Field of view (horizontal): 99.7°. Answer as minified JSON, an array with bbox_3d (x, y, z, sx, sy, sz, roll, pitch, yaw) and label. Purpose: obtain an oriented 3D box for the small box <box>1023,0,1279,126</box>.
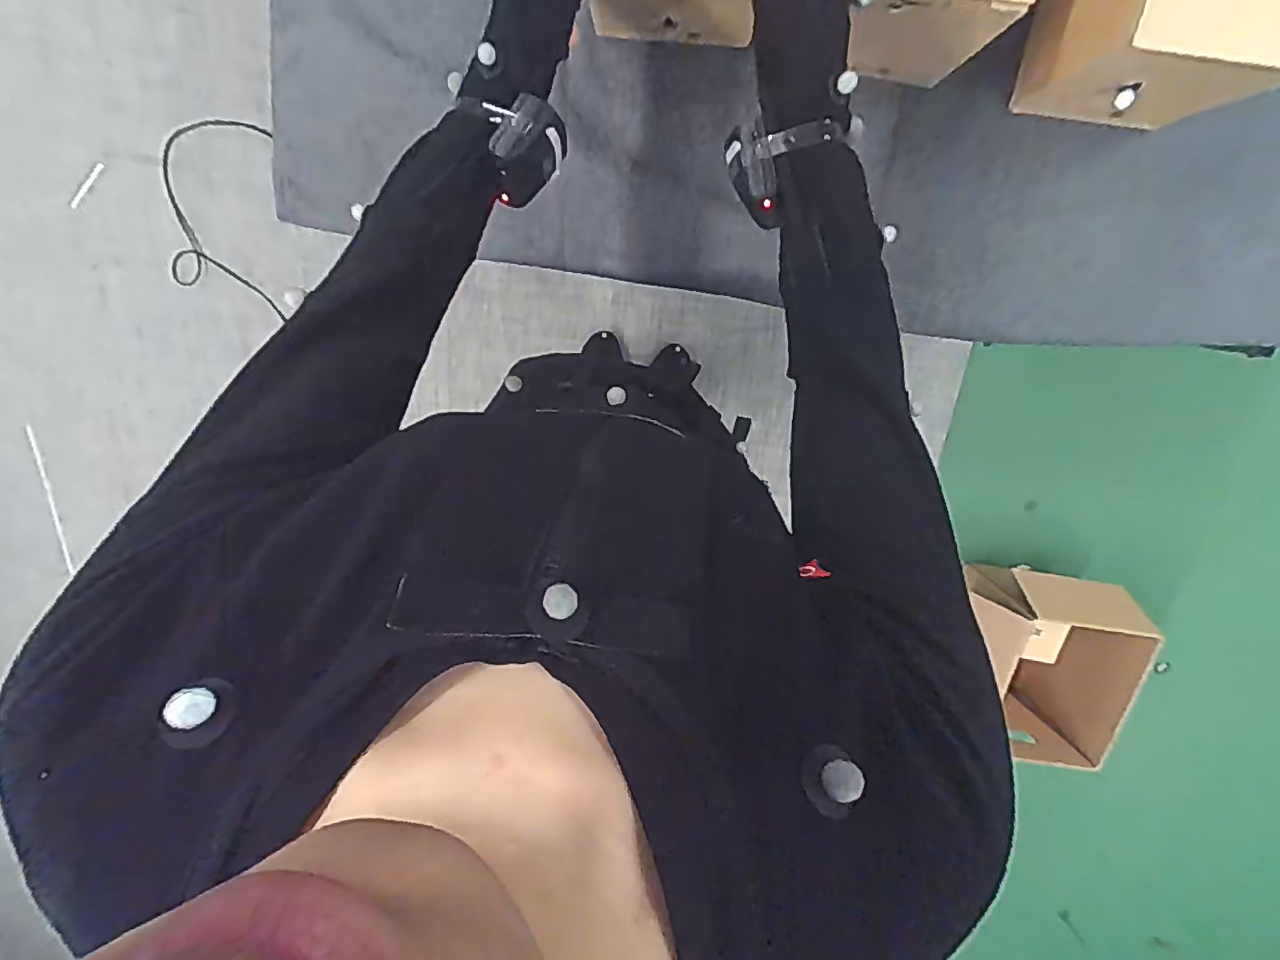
[{"bbox_3d":[0.491,-0.445,0.485,0.168,0.176,0.179,7,108,0],"label":"small box"}]
